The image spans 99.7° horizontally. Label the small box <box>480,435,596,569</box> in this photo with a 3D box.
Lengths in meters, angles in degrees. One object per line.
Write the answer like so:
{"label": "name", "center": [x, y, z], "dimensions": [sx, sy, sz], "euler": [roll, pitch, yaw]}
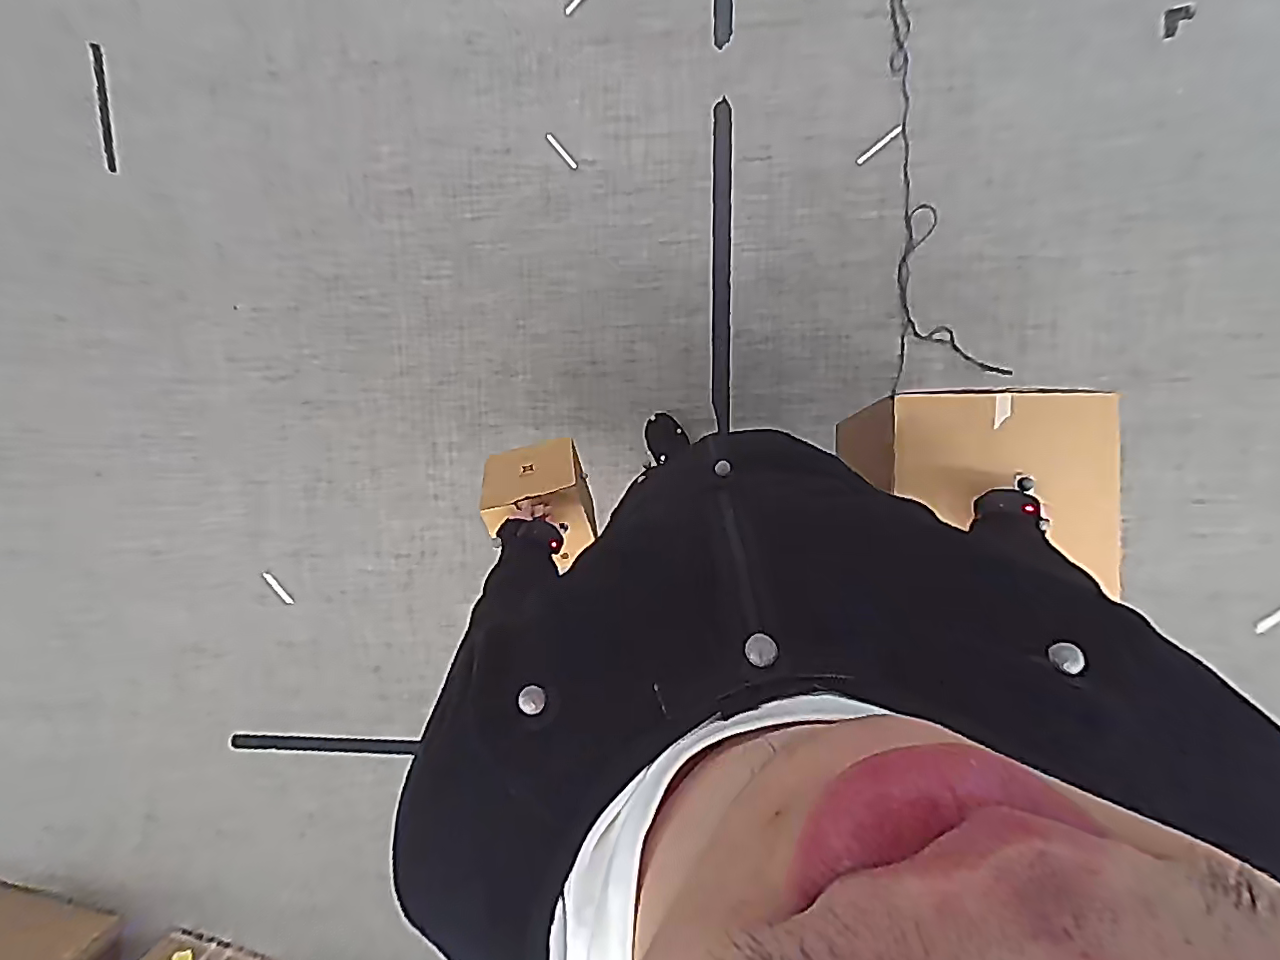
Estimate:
{"label": "small box", "center": [-0.184, 0.046, 1.002], "dimensions": [0.168, 0.179, 0.176], "euler": [-14, 126, -2]}
